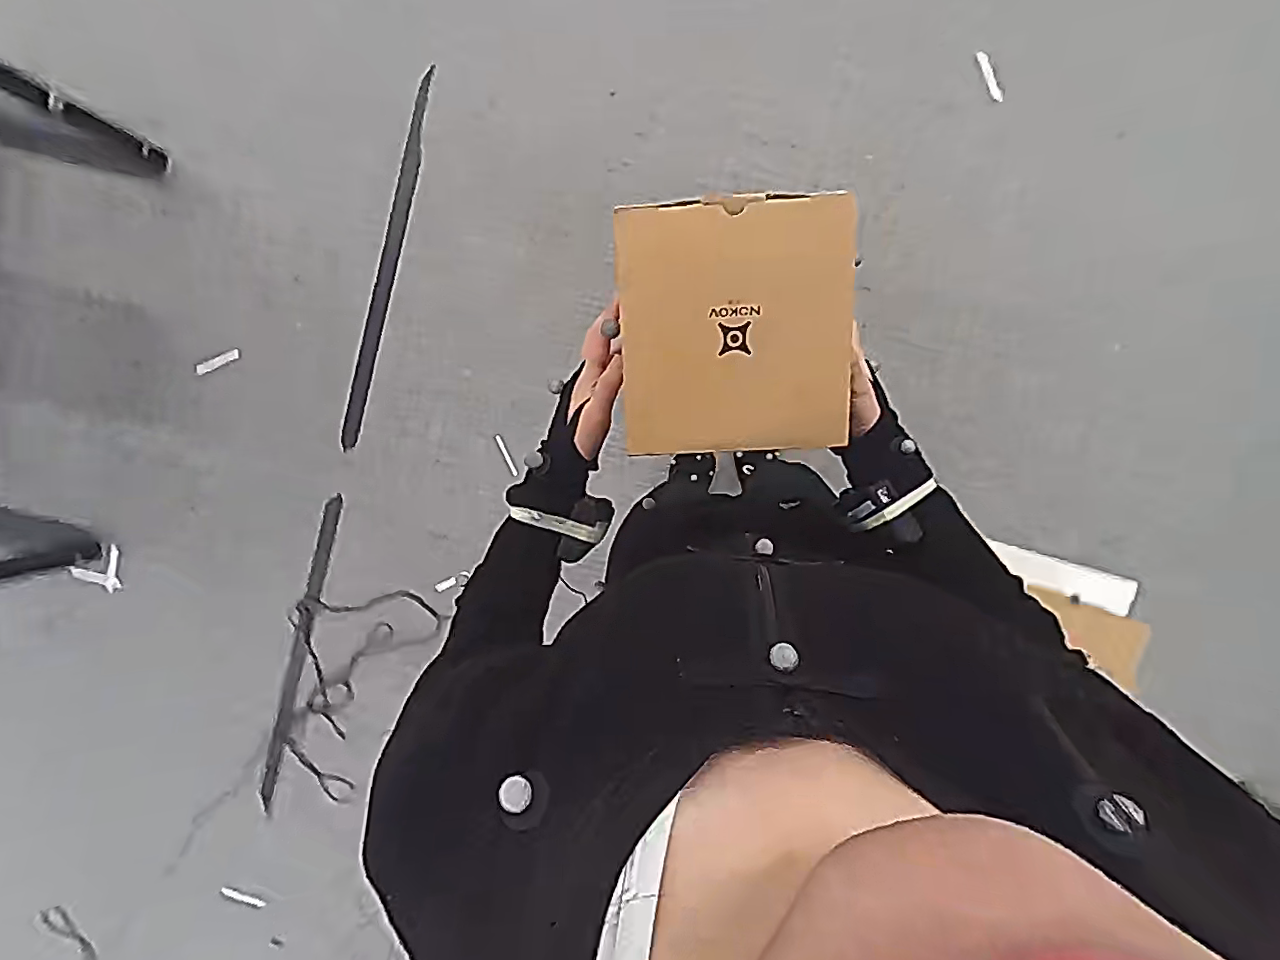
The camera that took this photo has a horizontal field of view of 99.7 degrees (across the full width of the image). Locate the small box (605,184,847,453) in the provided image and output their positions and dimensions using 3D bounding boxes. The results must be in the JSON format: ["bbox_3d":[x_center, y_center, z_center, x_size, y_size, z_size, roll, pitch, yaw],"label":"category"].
[{"bbox_3d":[0.066,-0.127,0.460,0.168,0.176,0.179,-4,102,3],"label":"small box"}]

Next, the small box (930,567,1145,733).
[{"bbox_3d":[0.586,0.245,0.821,0.179,0.176,0.168,14,96,1],"label":"small box"}]
